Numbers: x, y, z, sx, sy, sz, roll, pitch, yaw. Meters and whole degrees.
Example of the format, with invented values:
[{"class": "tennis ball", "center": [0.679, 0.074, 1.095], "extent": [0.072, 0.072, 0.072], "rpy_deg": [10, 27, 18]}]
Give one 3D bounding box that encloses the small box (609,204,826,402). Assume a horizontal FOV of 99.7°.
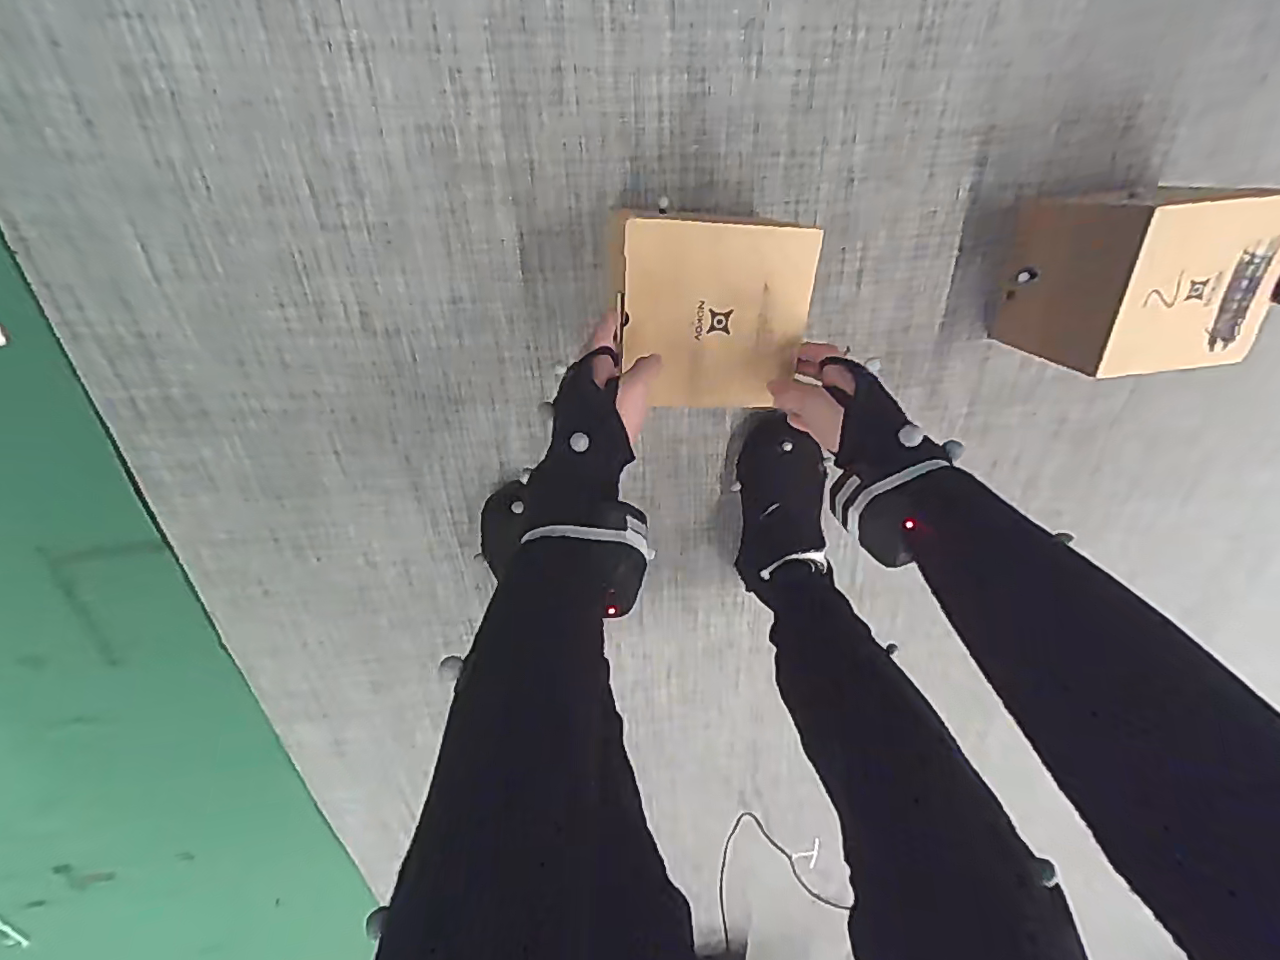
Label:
[{"class": "small box", "center": [0.061, -0.189, 0.563], "extent": [0.179, 0.176, 0.168], "rpy_deg": [0, 119, -9]}]
